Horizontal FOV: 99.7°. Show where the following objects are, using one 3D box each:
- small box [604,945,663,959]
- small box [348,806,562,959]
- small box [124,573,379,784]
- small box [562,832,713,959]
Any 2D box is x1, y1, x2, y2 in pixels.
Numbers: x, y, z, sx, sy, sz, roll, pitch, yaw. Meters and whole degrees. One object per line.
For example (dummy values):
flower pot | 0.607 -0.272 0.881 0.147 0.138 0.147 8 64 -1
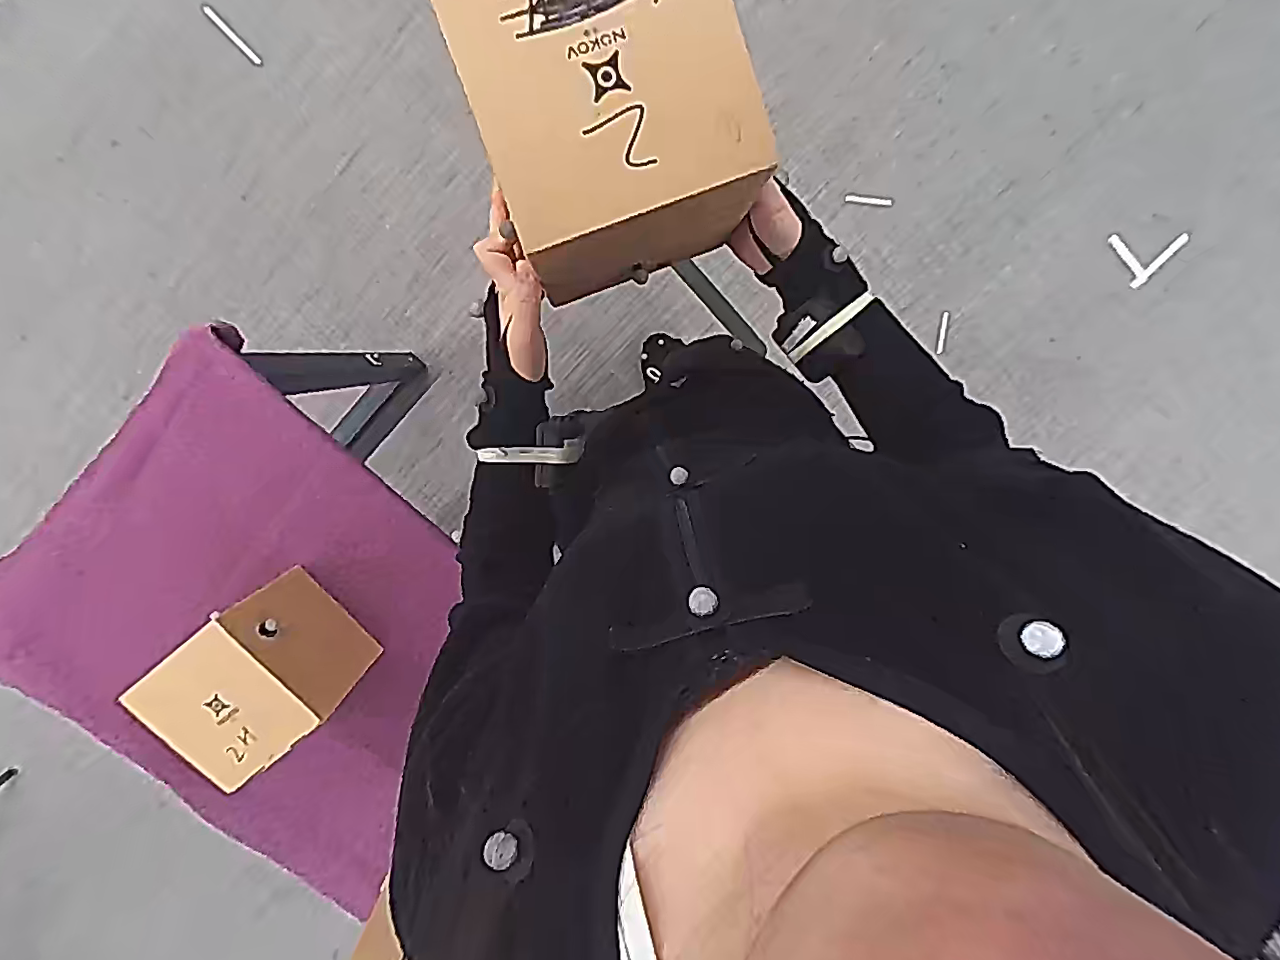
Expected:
small box | -0.008 0.750 0.687 0.179 0.176 0.168 39 100 -9
small box | -0.210 0.535 0.632 0.168 0.176 0.179 -44 99 7
small box | -0.497 0.247 0.722 0.168 0.176 0.179 -37 102 8
small box | -0.011 0.704 0.844 0.168 0.176 0.179 40 100 -10
